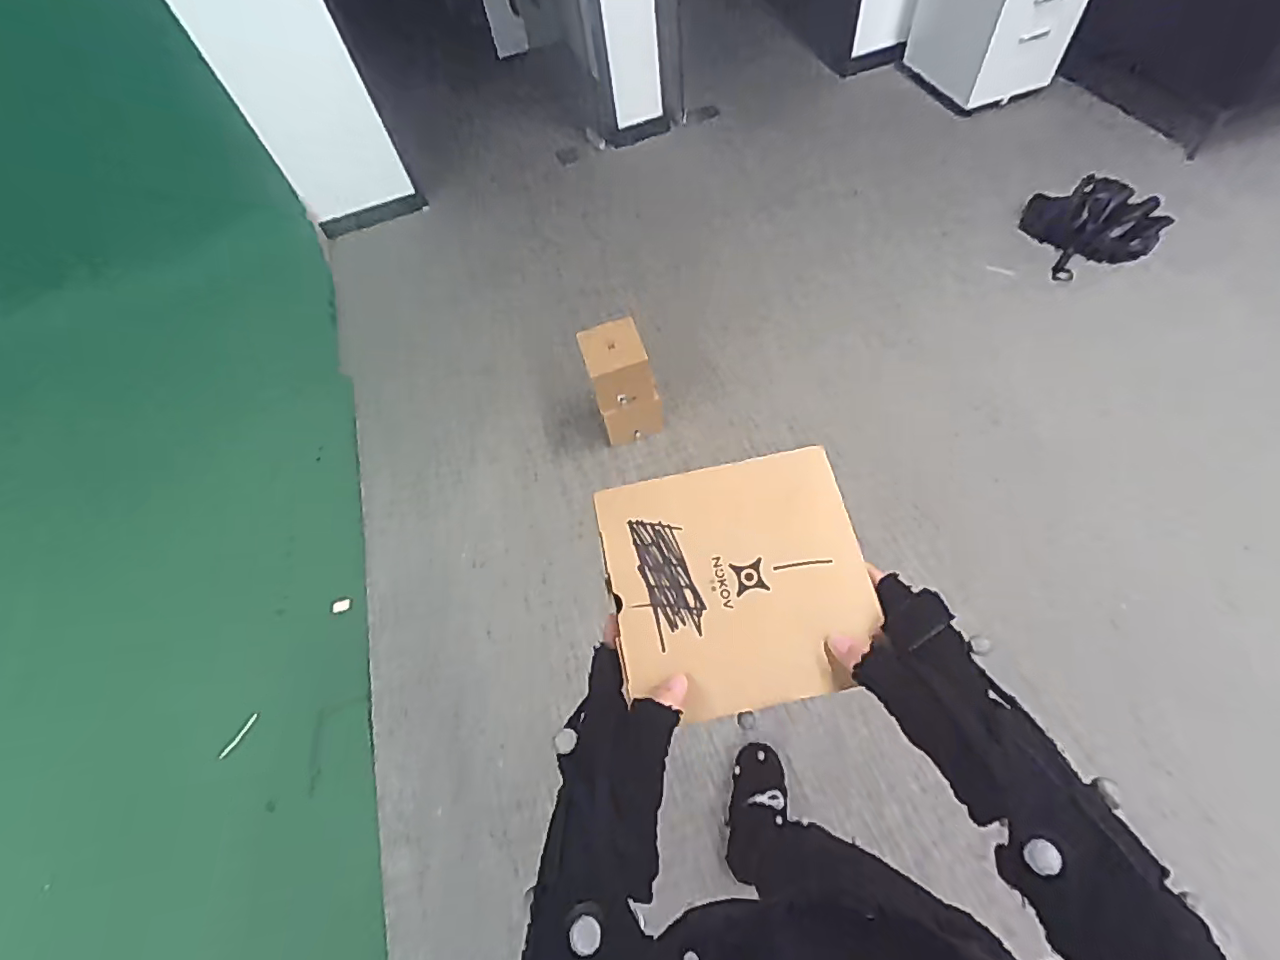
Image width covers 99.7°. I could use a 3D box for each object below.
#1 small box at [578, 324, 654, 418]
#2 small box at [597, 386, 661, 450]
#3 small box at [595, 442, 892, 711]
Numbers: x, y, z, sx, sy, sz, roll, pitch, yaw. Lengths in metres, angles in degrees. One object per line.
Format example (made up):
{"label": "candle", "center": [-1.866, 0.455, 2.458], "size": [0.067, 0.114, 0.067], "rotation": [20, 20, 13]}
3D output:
{"label": "small box", "center": [-0.067, -0.310, 1.553], "size": [0.168, 0.176, 0.179], "rotation": [-19, 59, -2]}
{"label": "small box", "center": [-0.038, -0.219, 1.686], "size": [0.179, 0.176, 0.168], "rotation": [-17, 58, -3]}
{"label": "small box", "center": [0.070, 0.090, 0.452], "size": [0.179, 0.176, 0.168], "rotation": [-11, 69, -2]}
